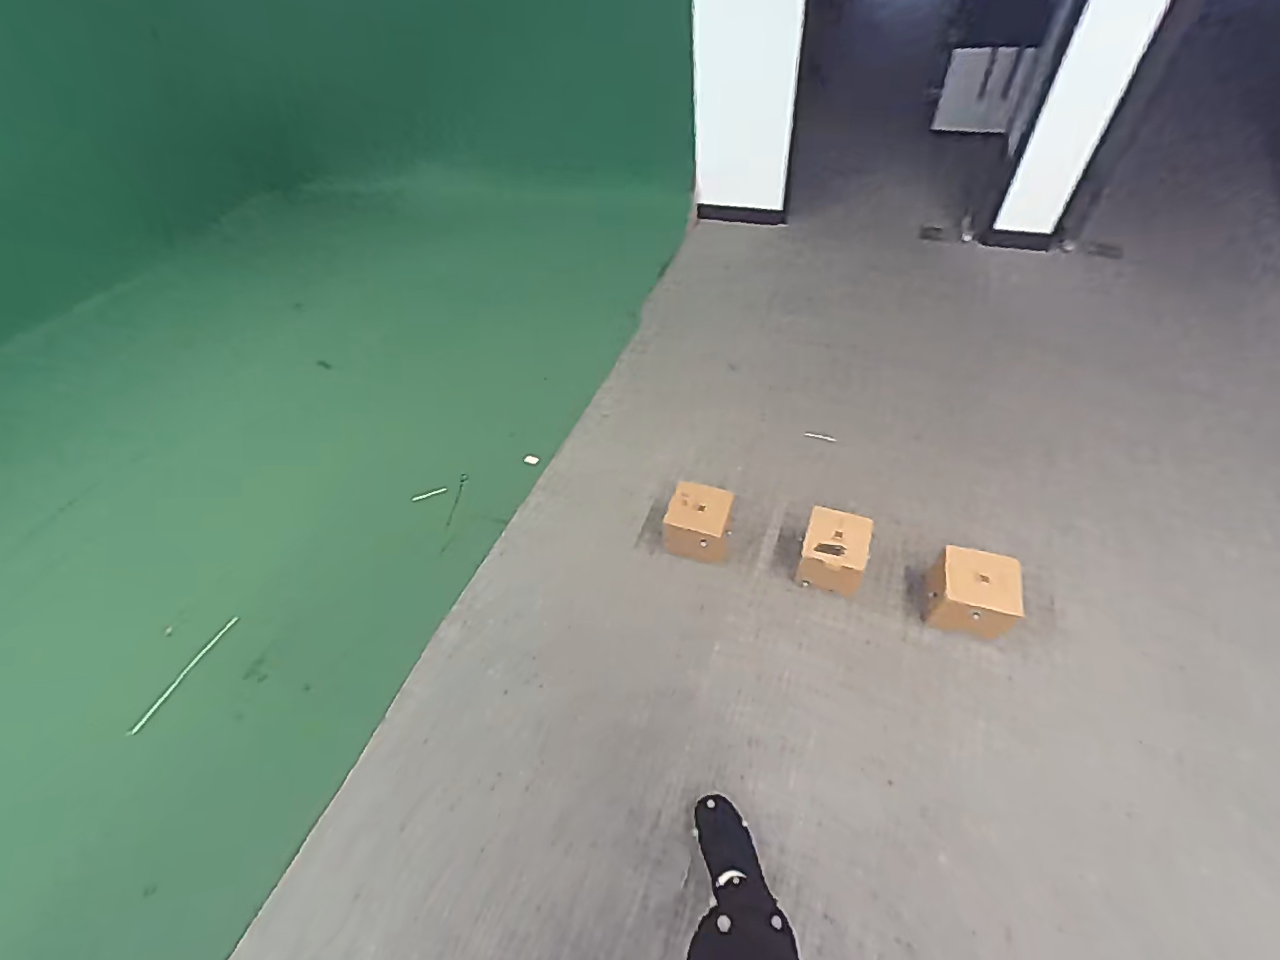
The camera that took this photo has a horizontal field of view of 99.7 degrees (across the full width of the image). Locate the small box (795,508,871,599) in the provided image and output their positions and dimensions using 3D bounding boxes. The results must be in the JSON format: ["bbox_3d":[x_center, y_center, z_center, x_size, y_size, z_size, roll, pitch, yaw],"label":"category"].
[{"bbox_3d":[0.545,0.214,1.541,0.168,0.176,0.179,14,54,17],"label":"small box"}]

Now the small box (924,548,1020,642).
[{"bbox_3d":[0.867,0.307,1.428,0.179,0.176,0.168,12,55,16],"label":"small box"}]

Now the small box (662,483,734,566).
[{"bbox_3d":[0.178,0.140,1.646,0.179,0.176,0.168,14,54,17],"label":"small box"}]
